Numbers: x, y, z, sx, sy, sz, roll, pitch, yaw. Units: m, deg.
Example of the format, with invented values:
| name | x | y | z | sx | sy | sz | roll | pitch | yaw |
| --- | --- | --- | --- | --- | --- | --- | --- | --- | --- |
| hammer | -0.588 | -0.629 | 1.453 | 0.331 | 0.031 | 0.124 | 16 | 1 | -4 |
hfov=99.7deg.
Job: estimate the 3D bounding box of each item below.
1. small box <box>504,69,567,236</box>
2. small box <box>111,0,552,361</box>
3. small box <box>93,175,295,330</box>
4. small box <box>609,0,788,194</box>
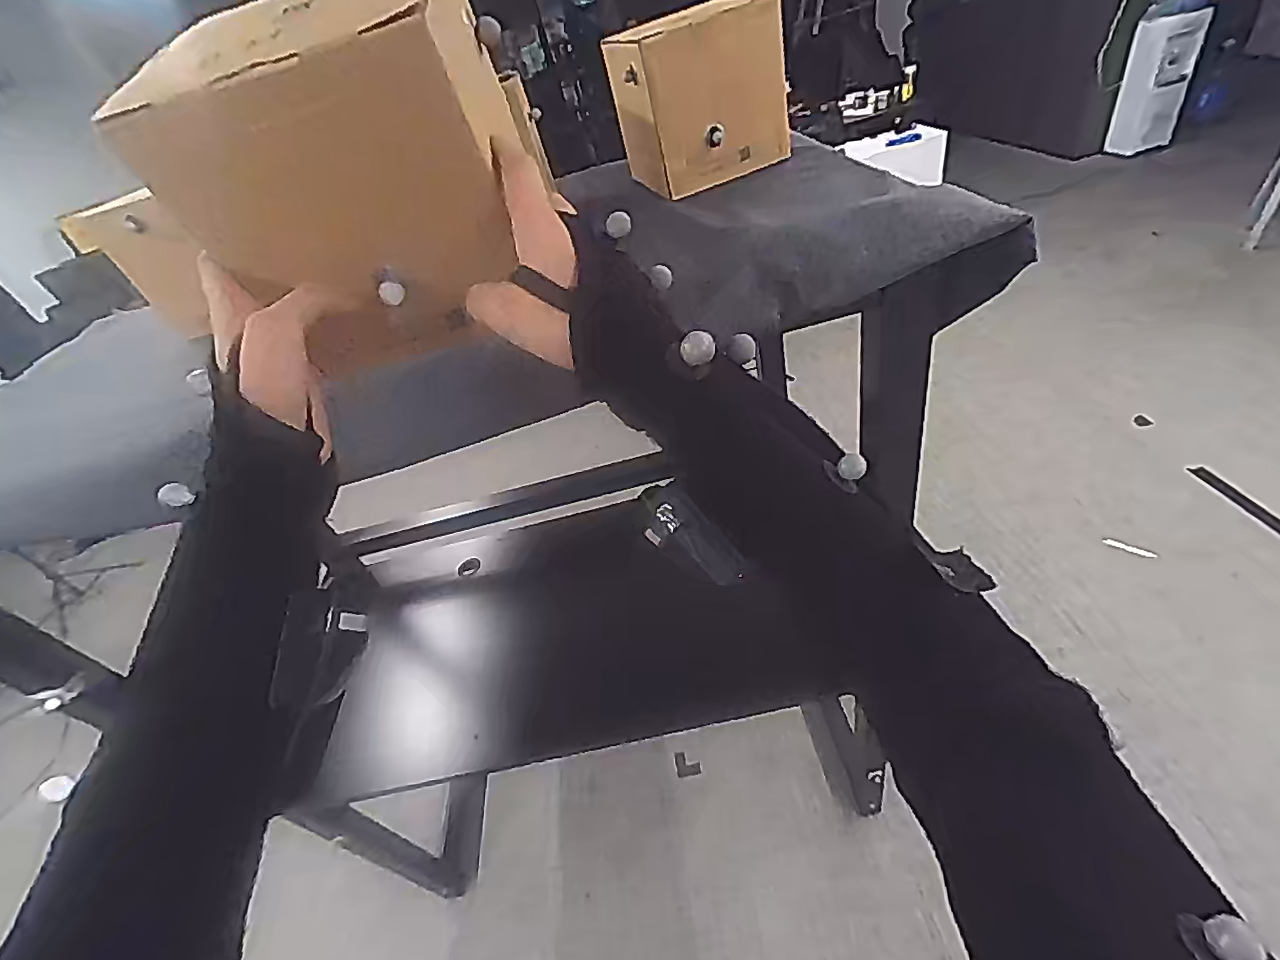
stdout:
| name | x | y | z | sx | sy | sz | roll | pitch | yaw |
| --- | --- | --- | --- | --- | --- | --- | --- | --- | --- |
| small box | -0.198 | -0.405 | 0.702 | 0.168 | 0.176 | 0.179 | -15 | 39 | 3 |
| small box | -0.165 | -0.211 | 0.360 | 0.168 | 0.176 | 0.179 | -14 | 53 | 5 |
| small box | -0.565 | -0.332 | 0.754 | 0.168 | 0.176 | 0.179 | -11 | 40 | 8 |
| small box | 0.076 | -0.491 | 0.697 | 0.168 | 0.176 | 0.179 | -22 | 42 | -3 |
